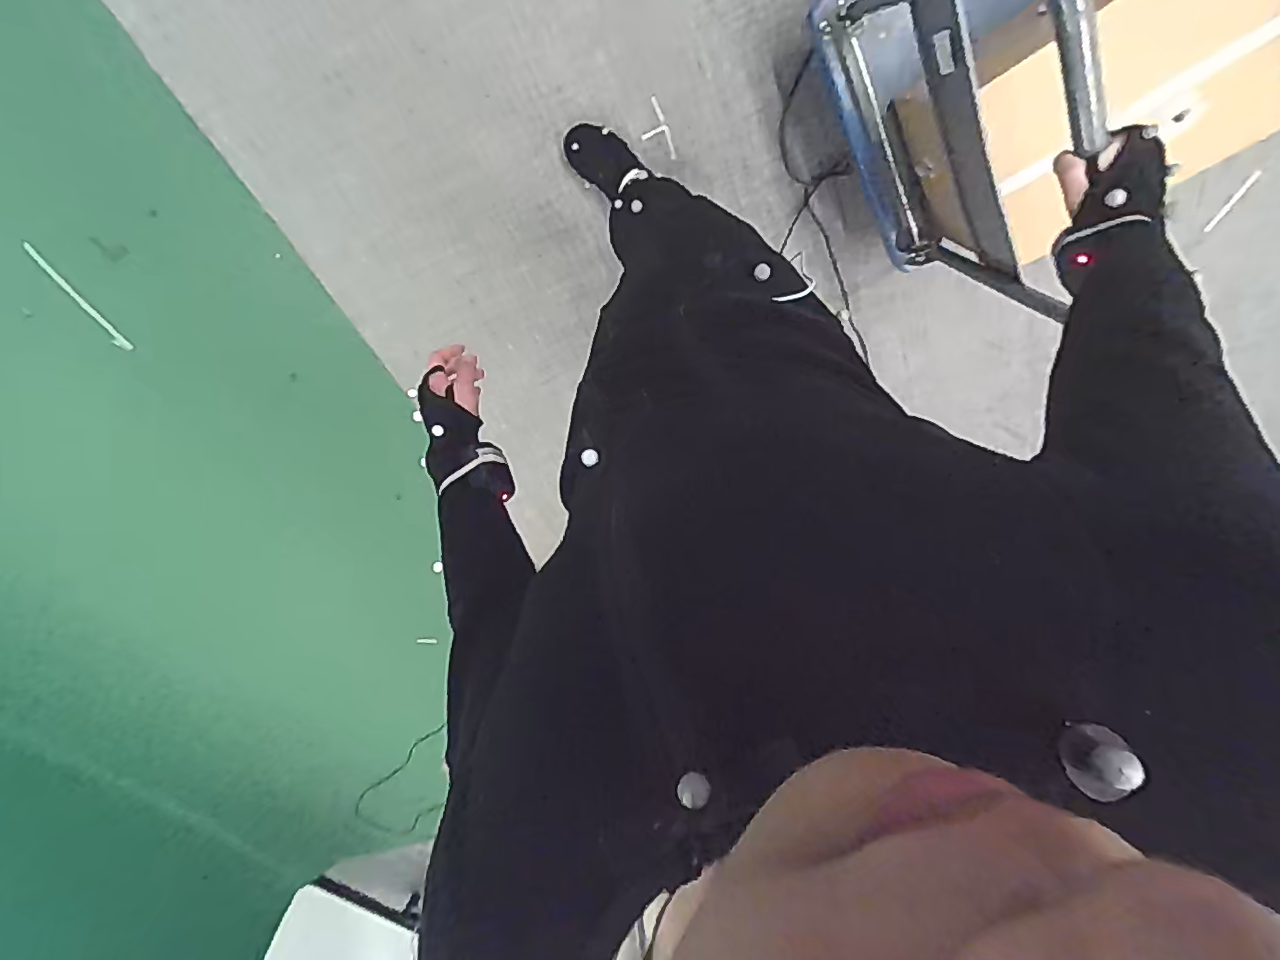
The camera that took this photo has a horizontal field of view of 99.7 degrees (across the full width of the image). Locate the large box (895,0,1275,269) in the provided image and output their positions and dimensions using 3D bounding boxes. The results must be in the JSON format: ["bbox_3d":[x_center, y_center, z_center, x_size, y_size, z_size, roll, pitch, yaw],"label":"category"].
[{"bbox_3d":[0.753,-0.657,0.970,0.408,0.320,0.320,-28,120,19],"label":"large box"}]
